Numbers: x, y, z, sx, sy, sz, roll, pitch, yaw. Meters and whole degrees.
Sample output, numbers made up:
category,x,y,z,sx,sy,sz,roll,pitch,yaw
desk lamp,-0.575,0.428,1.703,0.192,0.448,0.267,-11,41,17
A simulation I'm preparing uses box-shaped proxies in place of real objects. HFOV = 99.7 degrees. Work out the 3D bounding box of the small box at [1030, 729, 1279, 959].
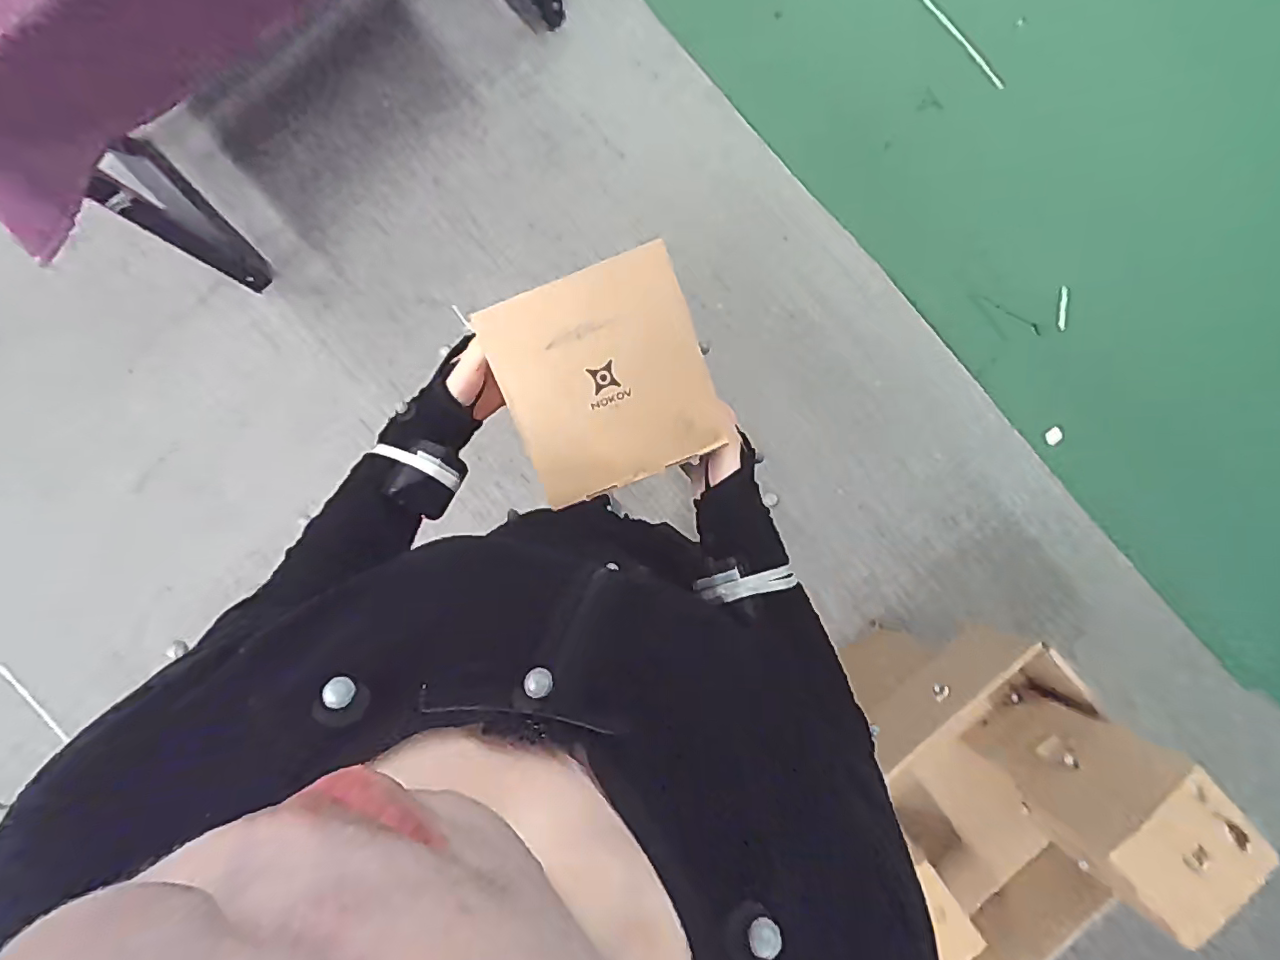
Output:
category,x,y,z,sx,sy,sz,roll,pitch,yaw
small box,0.712,0.503,0.775,0.179,0.176,0.168,-40,89,-2
